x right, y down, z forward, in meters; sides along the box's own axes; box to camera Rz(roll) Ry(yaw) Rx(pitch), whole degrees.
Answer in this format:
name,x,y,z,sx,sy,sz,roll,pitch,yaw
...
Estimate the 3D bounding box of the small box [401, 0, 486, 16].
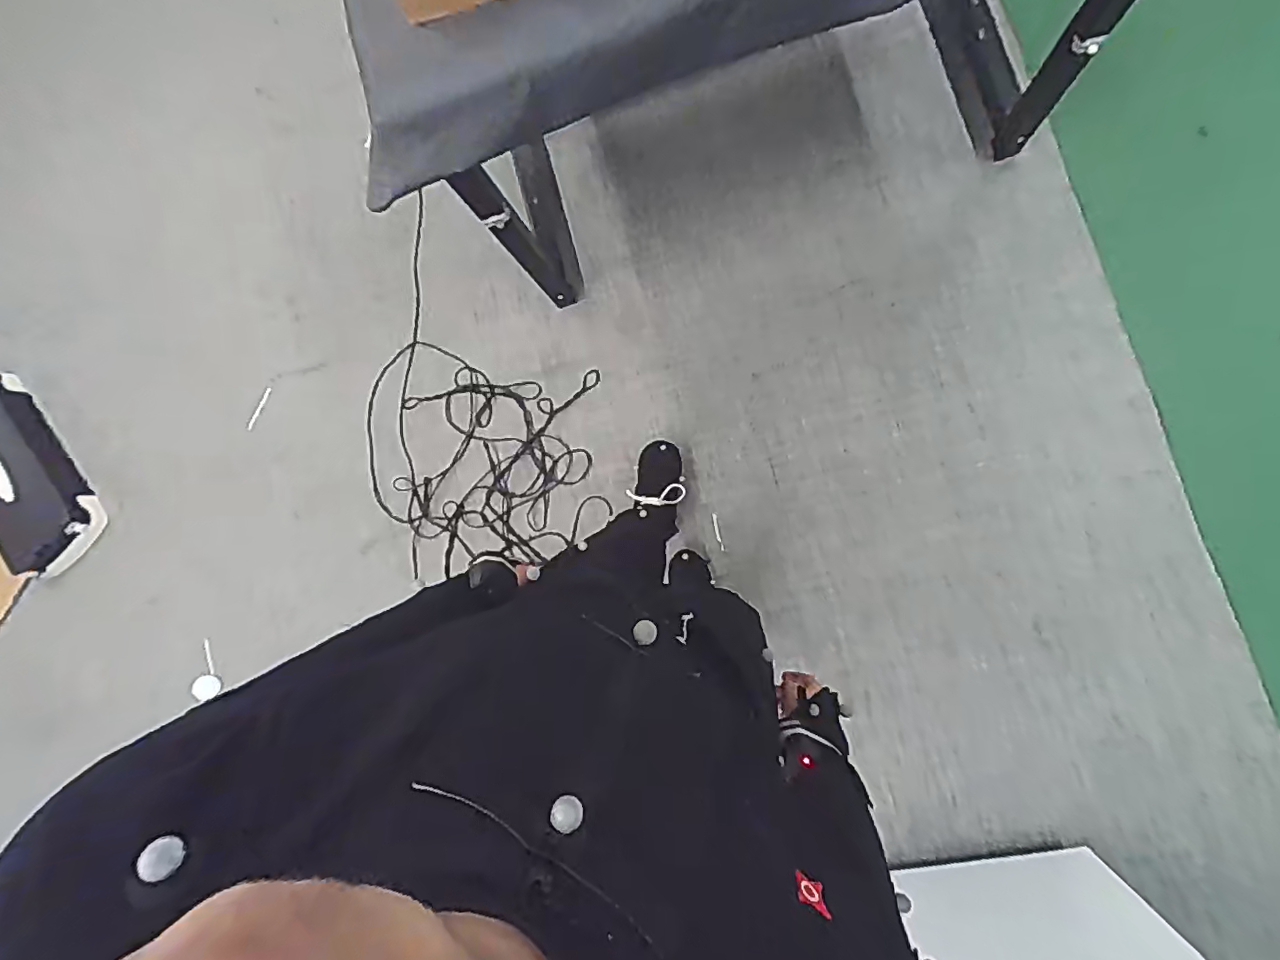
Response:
name,x,y,z,sx,sy,sz,roll,pitch,yaw
small box,-0.252,-0.720,0.654,0.179,0.176,0.168,-9,86,8
